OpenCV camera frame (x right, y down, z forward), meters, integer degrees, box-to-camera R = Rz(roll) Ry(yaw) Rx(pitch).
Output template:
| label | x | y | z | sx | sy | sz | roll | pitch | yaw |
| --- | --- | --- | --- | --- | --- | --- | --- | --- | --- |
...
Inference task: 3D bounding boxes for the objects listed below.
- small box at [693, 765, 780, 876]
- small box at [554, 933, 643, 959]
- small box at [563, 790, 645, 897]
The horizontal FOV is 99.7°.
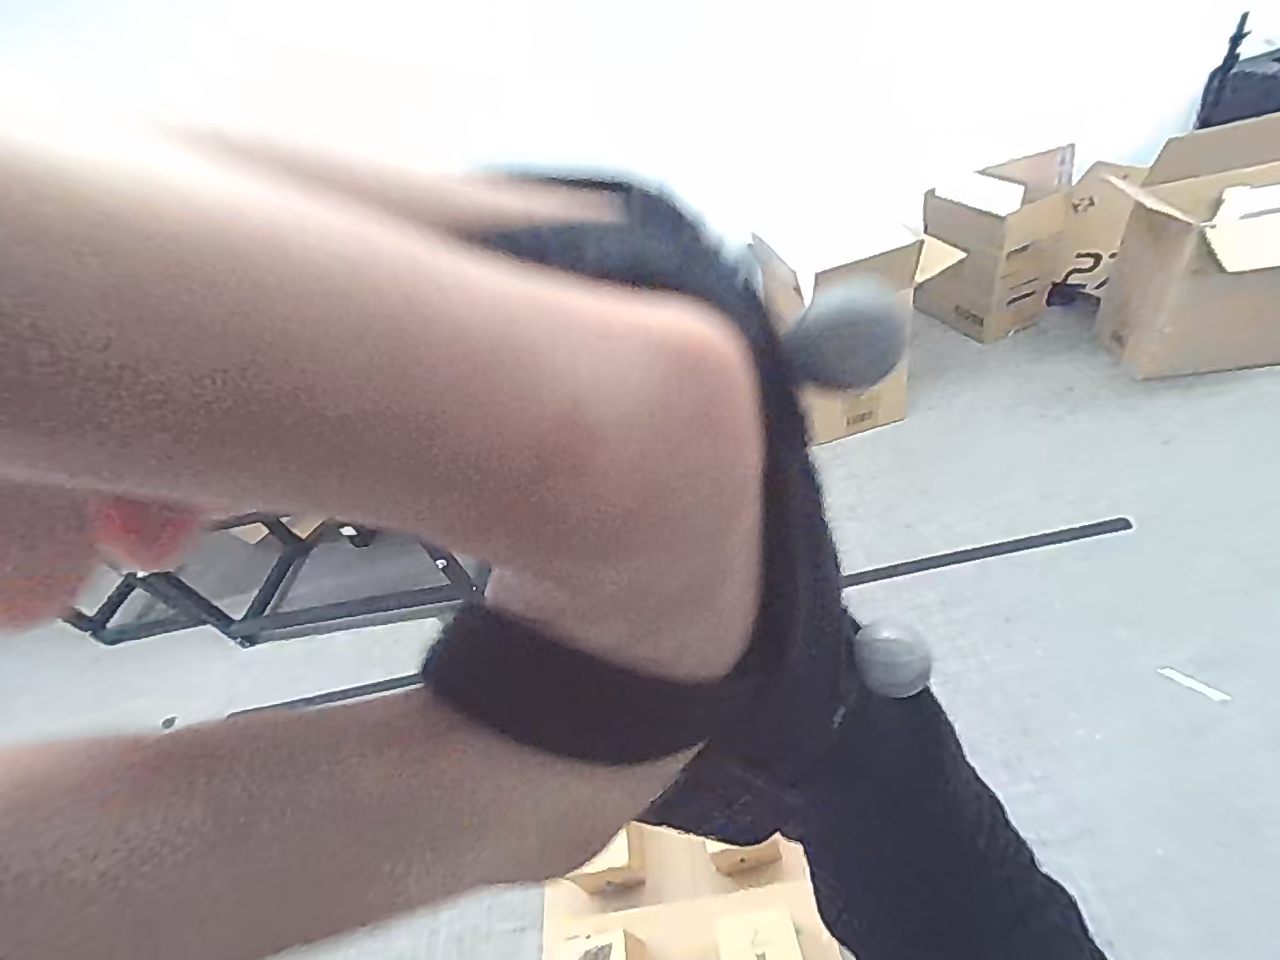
| label | x | y | z | sx | sy | sz | roll | pitch | yaw |
| --- | --- | --- | --- | --- | --- | --- | --- | --- | --- |
| small box | 0.242 | 0.855 | 1.355 | 0.168 | 0.176 | 0.179 | -17 | 40 | 3 |
| small box | -0.083 | 1.122 | 1.174 | 0.168 | 0.176 | 0.179 | -16 | 41 | 5 |
| small box | -0.090 | 0.933 | 1.387 | 0.168 | 0.176 | 0.179 | -15 | 40 | 6 |
